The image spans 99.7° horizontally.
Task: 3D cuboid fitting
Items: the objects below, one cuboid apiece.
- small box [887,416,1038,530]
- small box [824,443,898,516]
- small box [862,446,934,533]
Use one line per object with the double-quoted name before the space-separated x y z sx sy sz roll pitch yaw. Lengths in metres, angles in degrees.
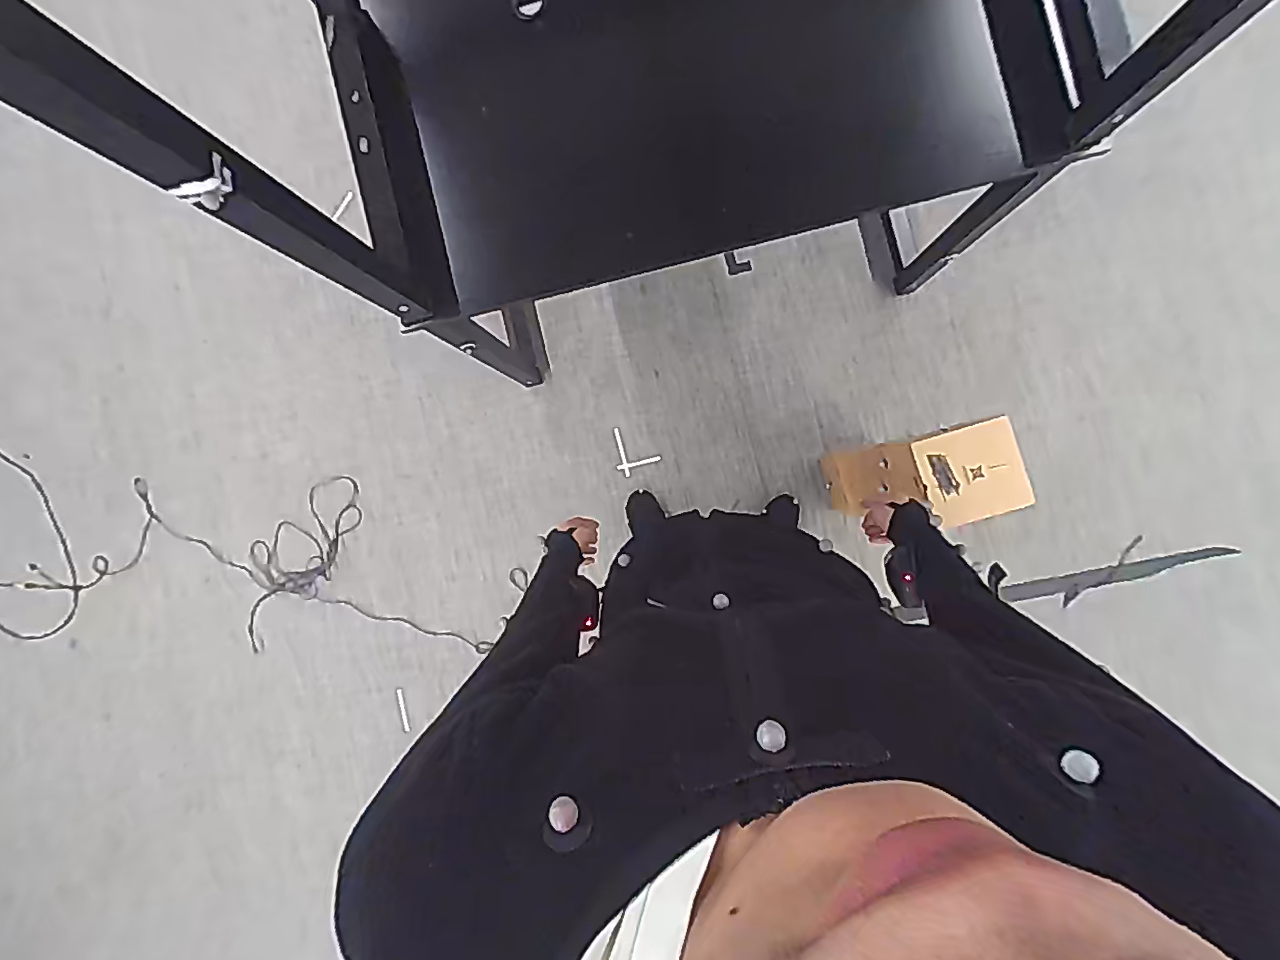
"small box" 0.591 -0.010 1.022 0.179 0.176 0.168 -17 89 5
"small box" 0.638 -0.003 1.511 0.179 0.176 0.168 -15 89 6
"small box" 0.613 0.004 1.185 0.168 0.176 0.179 -17 89 5
